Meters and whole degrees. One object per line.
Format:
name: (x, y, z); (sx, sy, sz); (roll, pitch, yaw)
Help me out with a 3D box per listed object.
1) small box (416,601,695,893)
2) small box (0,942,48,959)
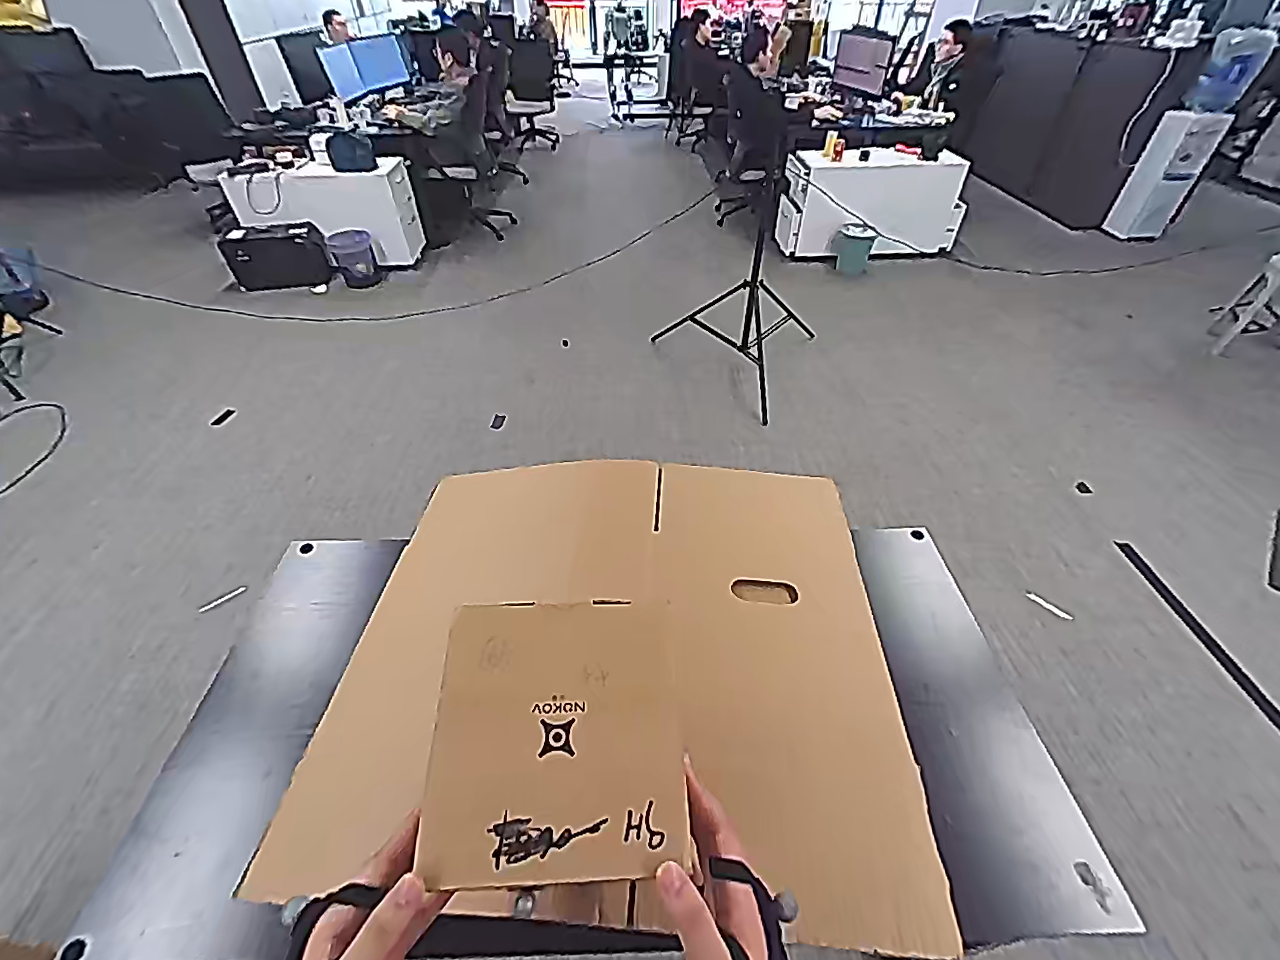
small box: (-0.055, 0.212, 0.427); (0.168, 0.176, 0.179); (-1, 53, -3)
small box: (-1.303, 1.010, 1.025); (0.168, 0.176, 0.179); (-4, 44, -4)
